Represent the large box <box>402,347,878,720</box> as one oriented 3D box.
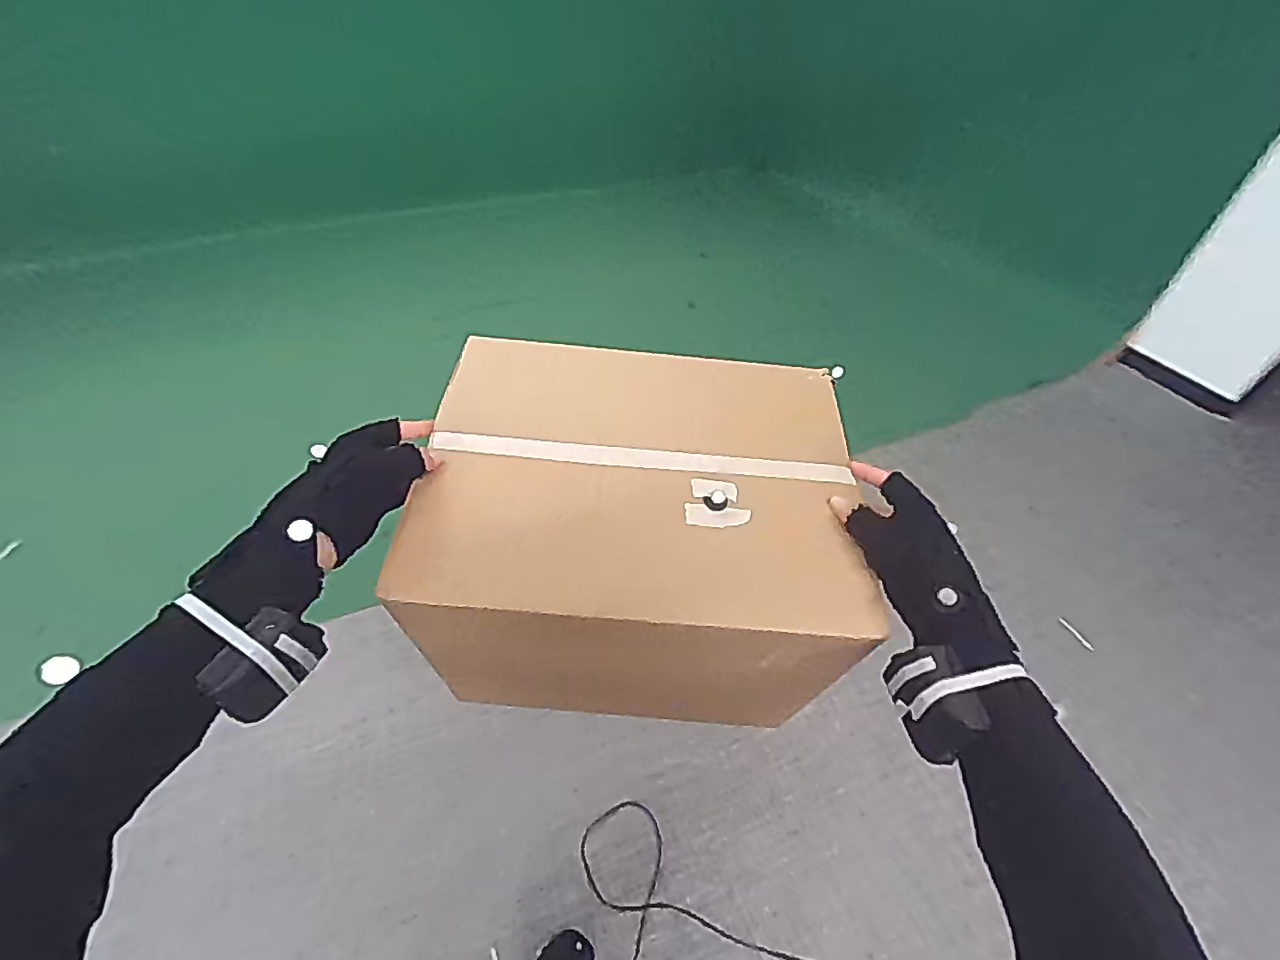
[{"bbox_3d":[-0.003,0.076,0.647,0.408,0.320,0.320,6,54,-1],"label":"large box"}]
